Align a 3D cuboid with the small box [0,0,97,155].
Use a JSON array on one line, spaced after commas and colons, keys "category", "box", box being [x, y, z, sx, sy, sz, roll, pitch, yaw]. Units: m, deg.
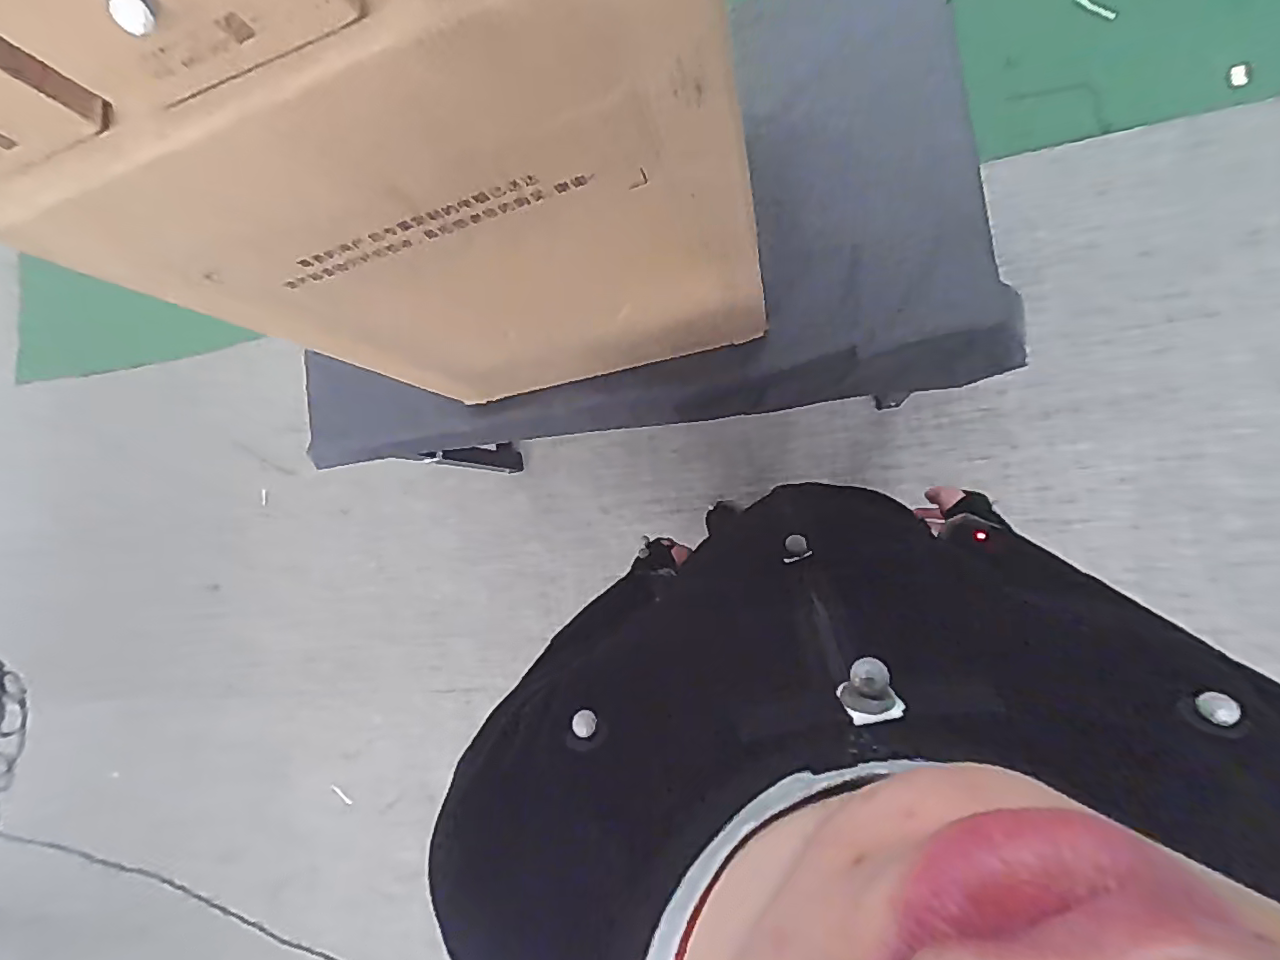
[{"category": "small box", "box": [-0.435, -0.296, 0.281, 0.168, 0.176, 0.179, -9, 85, 15]}]
